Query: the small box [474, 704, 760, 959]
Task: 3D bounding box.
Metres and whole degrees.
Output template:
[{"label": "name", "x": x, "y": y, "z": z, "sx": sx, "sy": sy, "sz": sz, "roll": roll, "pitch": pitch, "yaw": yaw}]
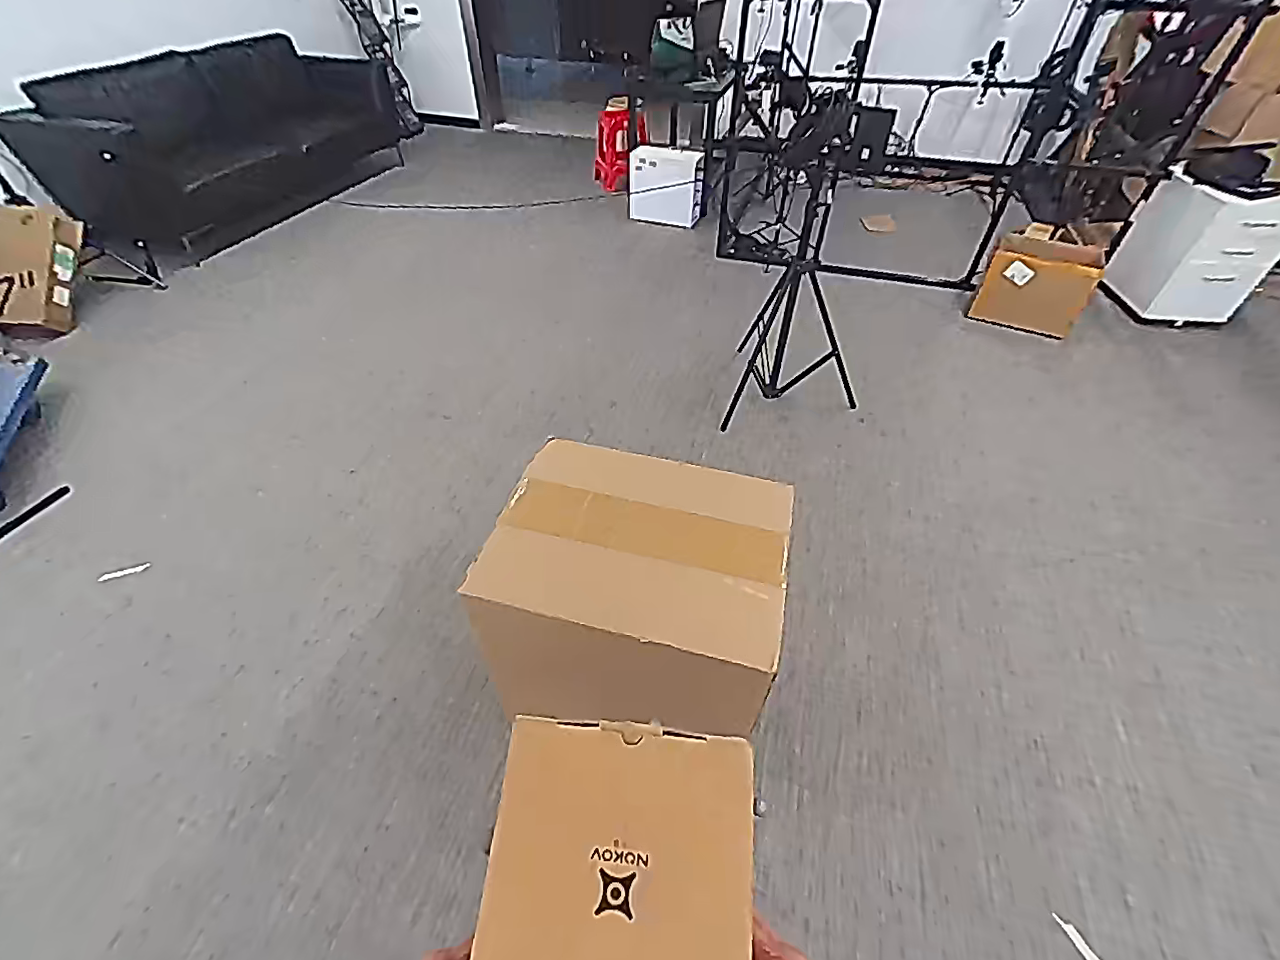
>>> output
[{"label": "small box", "x": -0.005, "y": 0.274, "z": 0.398, "sx": 0.168, "sy": 0.176, "sz": 0.179, "roll": 4, "pitch": 61, "yaw": 4}]
